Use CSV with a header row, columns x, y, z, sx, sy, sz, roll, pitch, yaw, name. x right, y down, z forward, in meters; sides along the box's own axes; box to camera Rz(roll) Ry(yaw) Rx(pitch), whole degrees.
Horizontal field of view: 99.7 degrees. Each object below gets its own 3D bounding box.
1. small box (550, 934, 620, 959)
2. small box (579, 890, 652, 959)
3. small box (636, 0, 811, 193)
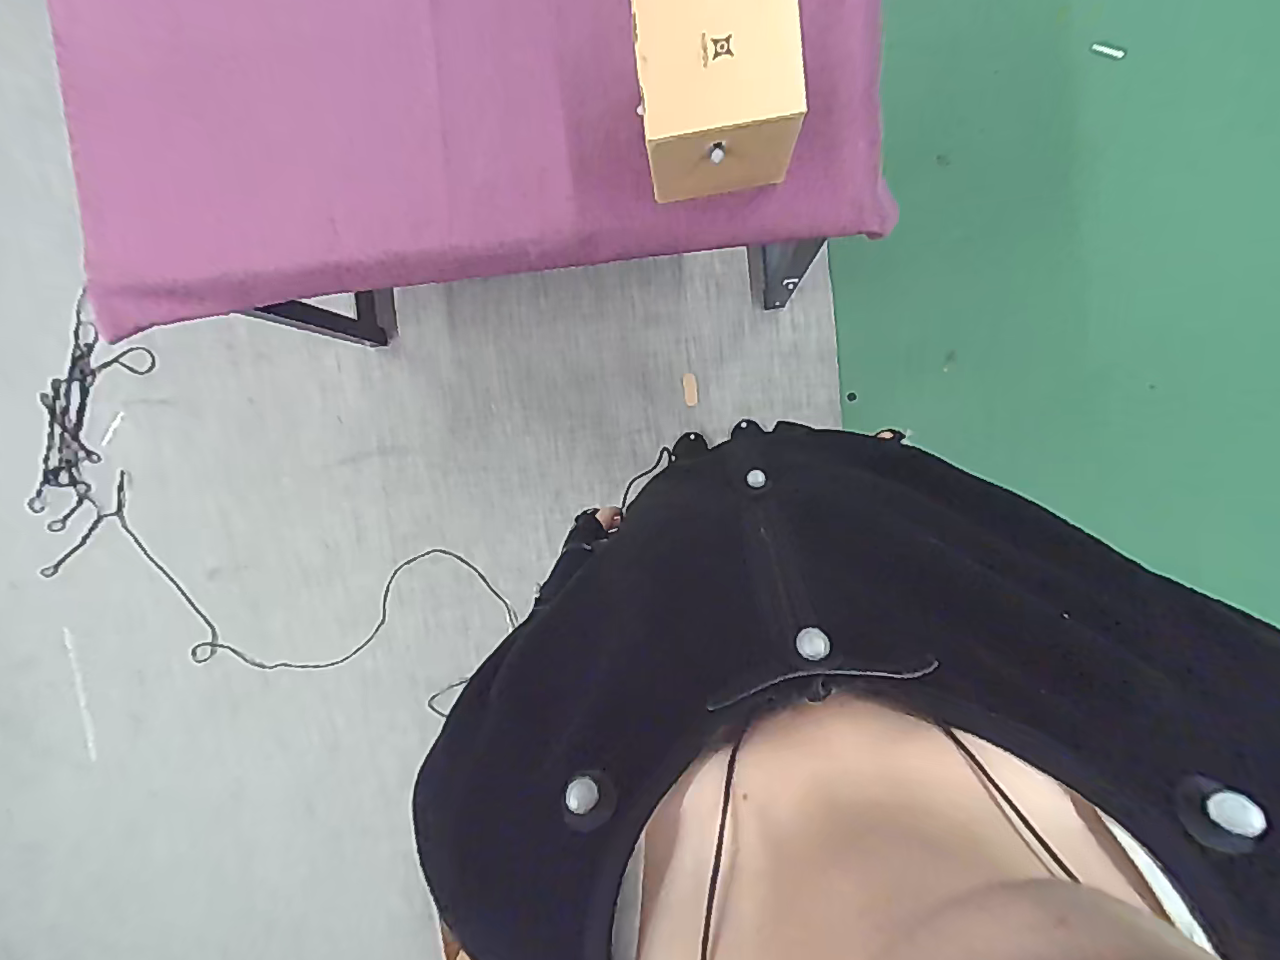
x,y,z,sx,sy,sz,roll,pitch,yaw,name
-0.145,1.311,1.387,0.168,0.176,0.179,-12,92,11,small box
-0.068,1.309,1.540,0.179,0.176,0.168,-10,92,11,small box
0.099,-0.478,0.657,0.179,0.176,0.168,-6,96,10,small box
